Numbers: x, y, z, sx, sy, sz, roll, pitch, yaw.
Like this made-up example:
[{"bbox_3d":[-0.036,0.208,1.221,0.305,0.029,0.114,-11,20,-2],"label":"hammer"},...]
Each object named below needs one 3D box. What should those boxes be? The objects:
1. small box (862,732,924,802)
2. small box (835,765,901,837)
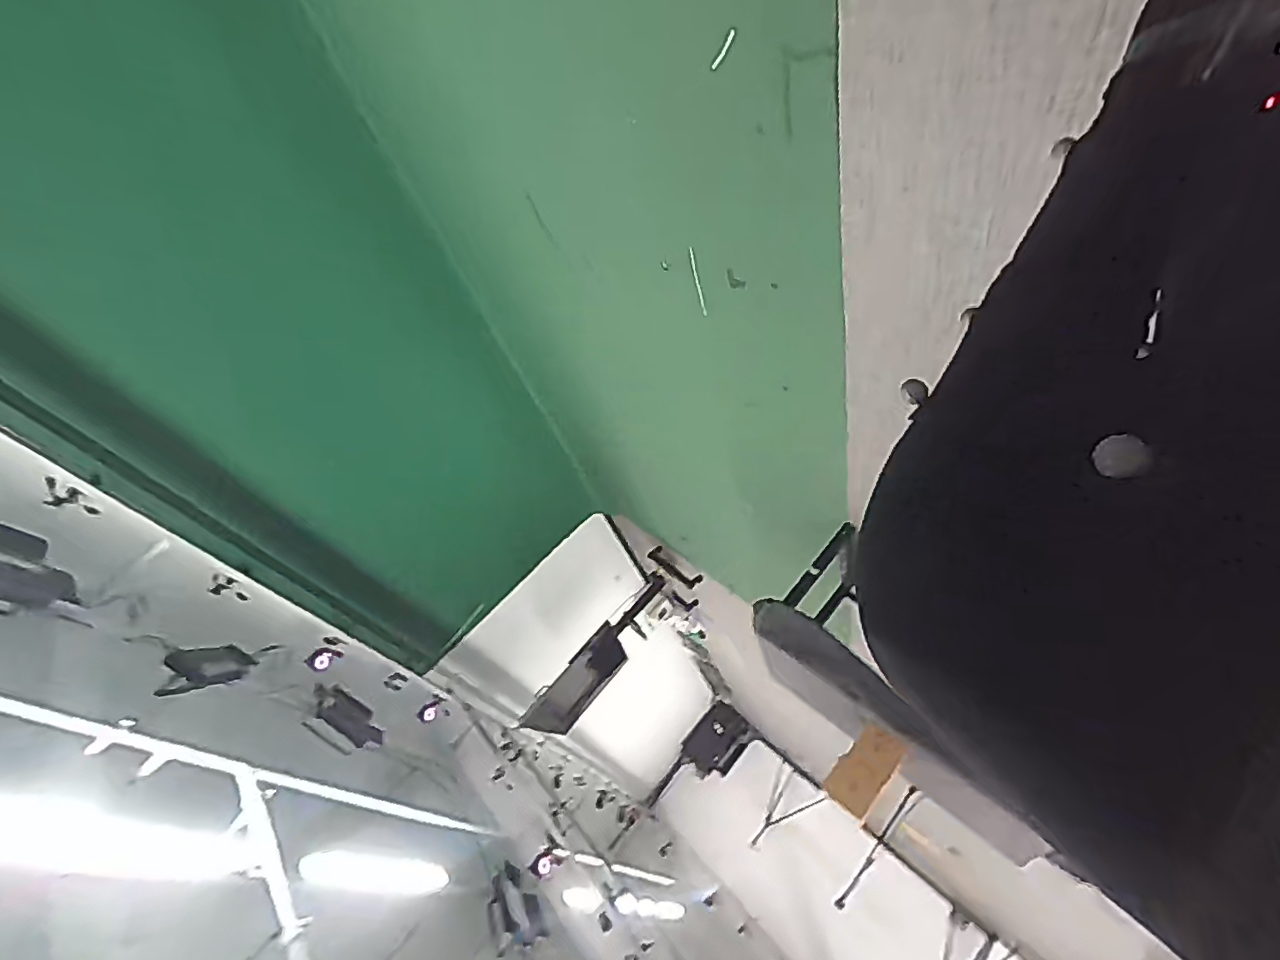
[{"bbox_3d":[1.004,1.134,2.146,0.168,0.176,0.179,32,159,39],"label":"small box"},{"bbox_3d":[0.885,1.241,2.102,0.179,0.176,0.168,31,159,39],"label":"small box"}]
